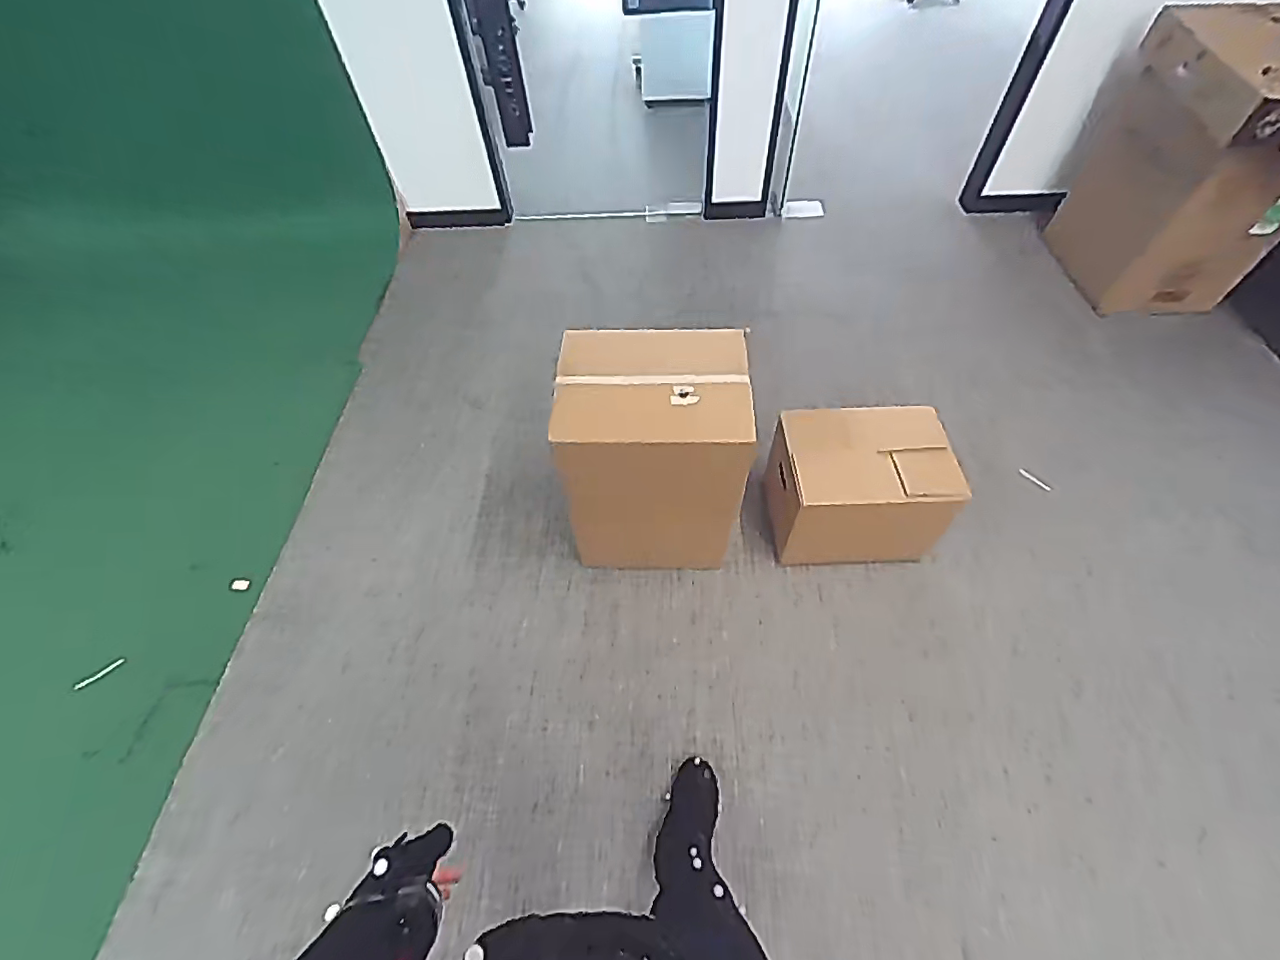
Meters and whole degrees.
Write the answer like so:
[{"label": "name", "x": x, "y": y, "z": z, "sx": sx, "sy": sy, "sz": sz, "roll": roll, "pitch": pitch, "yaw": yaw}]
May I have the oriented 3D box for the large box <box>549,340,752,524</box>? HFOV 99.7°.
[{"label": "large box", "x": 0.022, "y": -0.103, "z": 1.247, "sx": 0.408, "sy": 0.320, "sz": 0.320, "roll": 1, "pitch": 57, "yaw": 2}]
